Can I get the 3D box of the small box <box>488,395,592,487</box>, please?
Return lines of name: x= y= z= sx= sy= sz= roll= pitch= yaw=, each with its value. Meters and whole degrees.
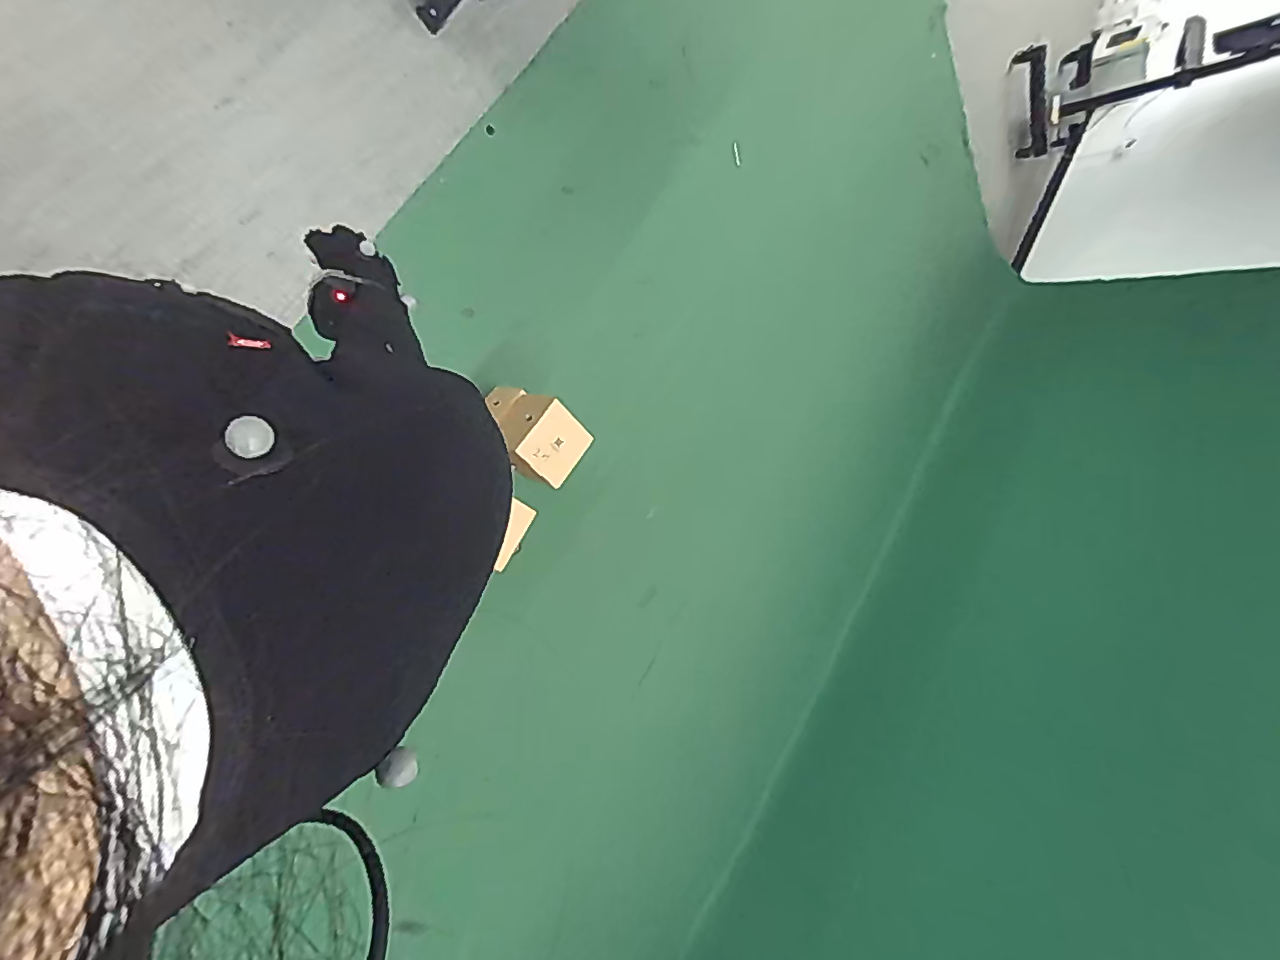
small box: x=-0.269 y=-0.109 z=1.429 sx=0.179 sy=0.176 sz=0.168 roll=-55 pitch=129 yaw=-17

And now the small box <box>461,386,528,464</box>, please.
small box: x=-0.376 y=-0.151 z=1.548 sx=0.168 sy=0.176 sz=0.179 roll=-55 pitch=129 yaw=-17
